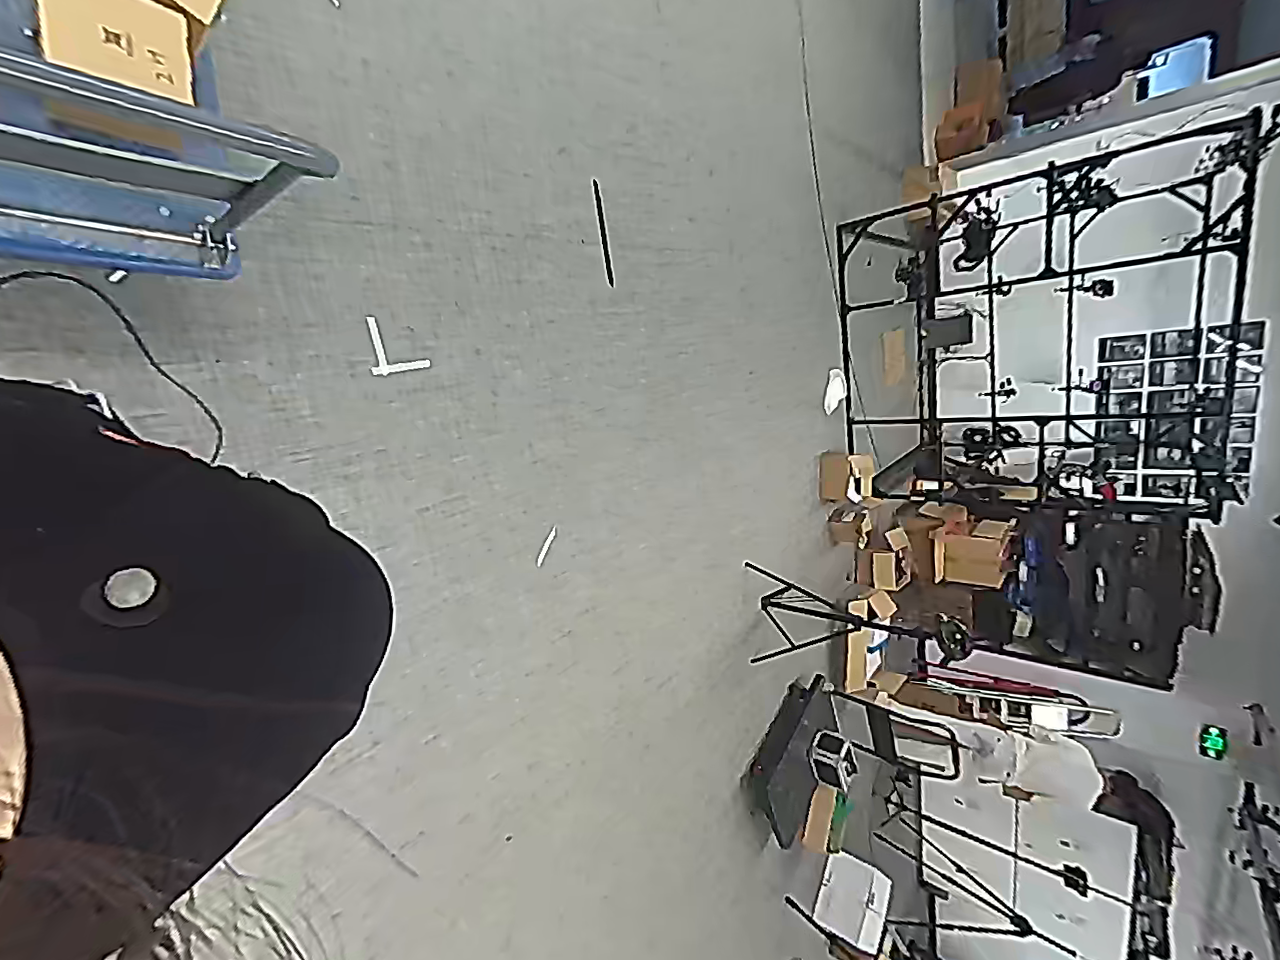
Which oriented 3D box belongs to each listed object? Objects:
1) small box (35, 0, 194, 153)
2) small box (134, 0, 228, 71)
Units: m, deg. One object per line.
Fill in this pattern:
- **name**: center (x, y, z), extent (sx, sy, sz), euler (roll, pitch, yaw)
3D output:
- **small box**: center (-0.878, -0.683, 0.906), extent (0.179, 0.176, 0.168), euler (-7, 98, -48)
- **small box**: center (-0.834, -0.880, 0.944), extent (0.168, 0.176, 0.179), euler (25, 74, -46)
